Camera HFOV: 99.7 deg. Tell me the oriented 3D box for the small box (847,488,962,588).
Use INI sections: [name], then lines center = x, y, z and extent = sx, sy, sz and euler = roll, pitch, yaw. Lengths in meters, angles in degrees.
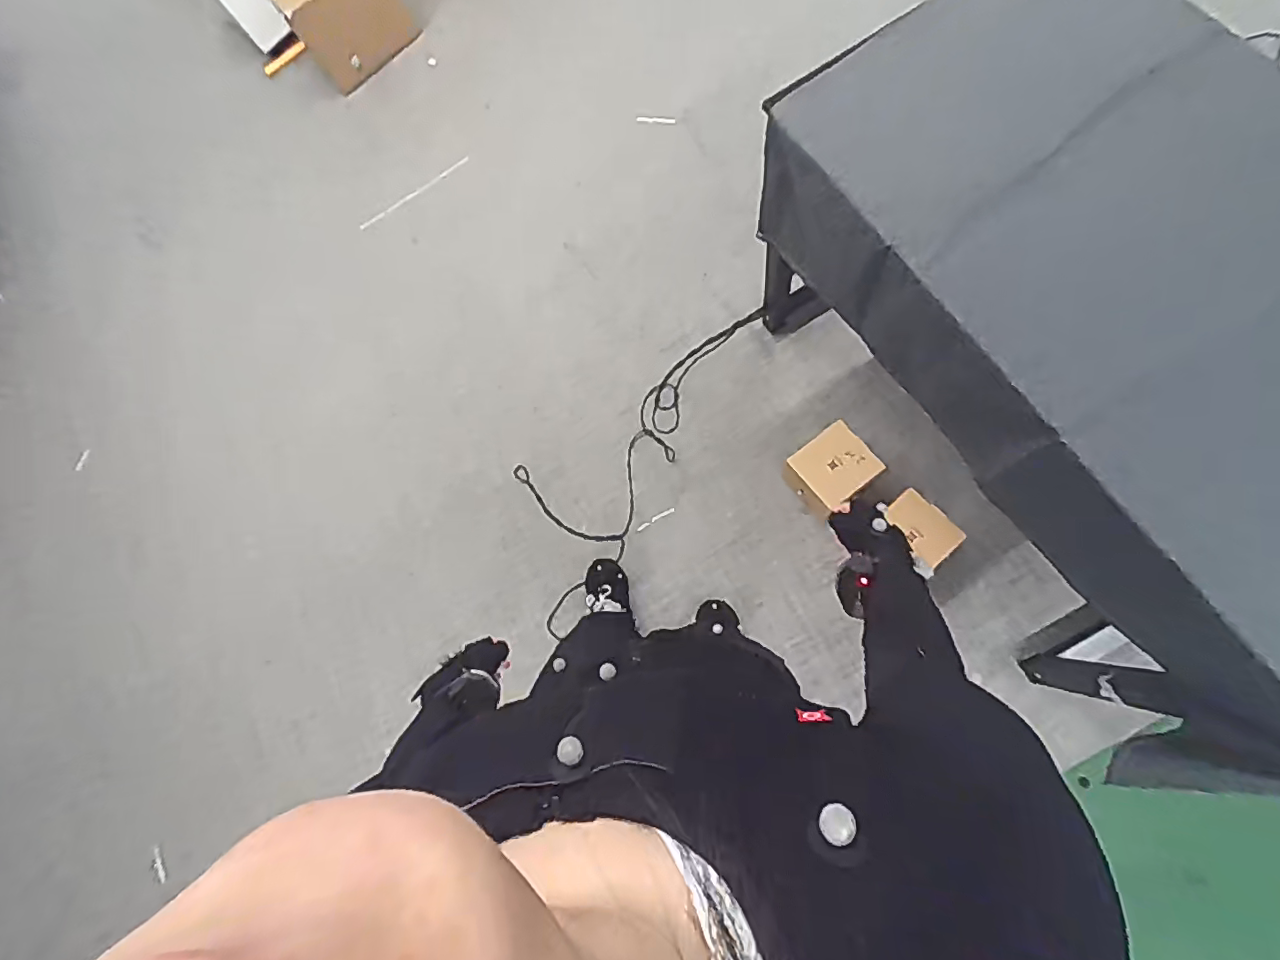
[small box]
center = 0.644, 0.150, 1.342
extent = 0.179, 0.176, 0.168
euler = -43, 73, -2
